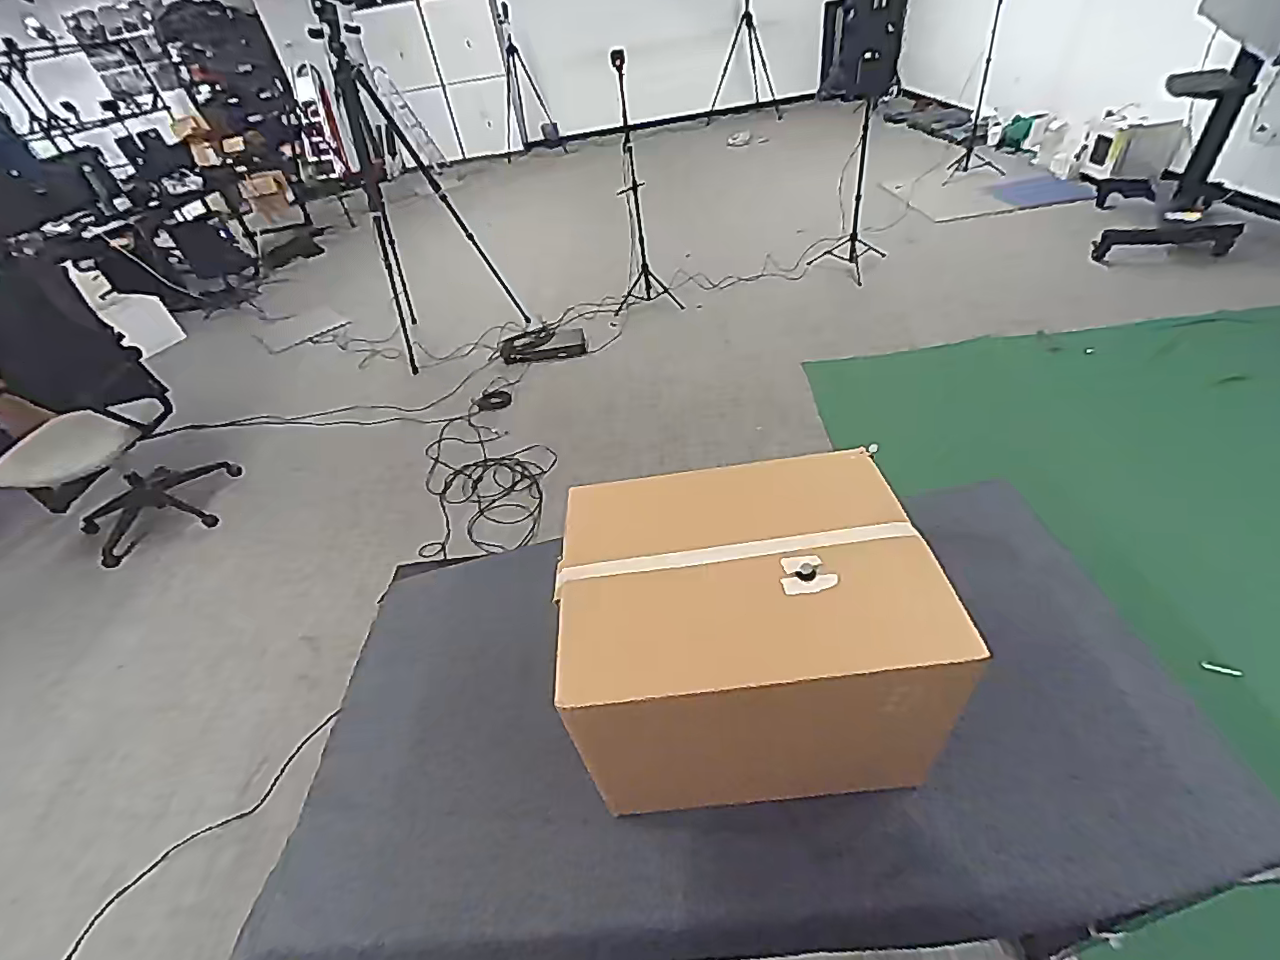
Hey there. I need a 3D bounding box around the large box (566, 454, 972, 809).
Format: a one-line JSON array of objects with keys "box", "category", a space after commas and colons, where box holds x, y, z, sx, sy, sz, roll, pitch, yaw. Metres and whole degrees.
[{"box": [0.130, 0.202, 0.727, 0.408, 0.320, 0.320, -8, 42, 2], "category": "large box"}]
